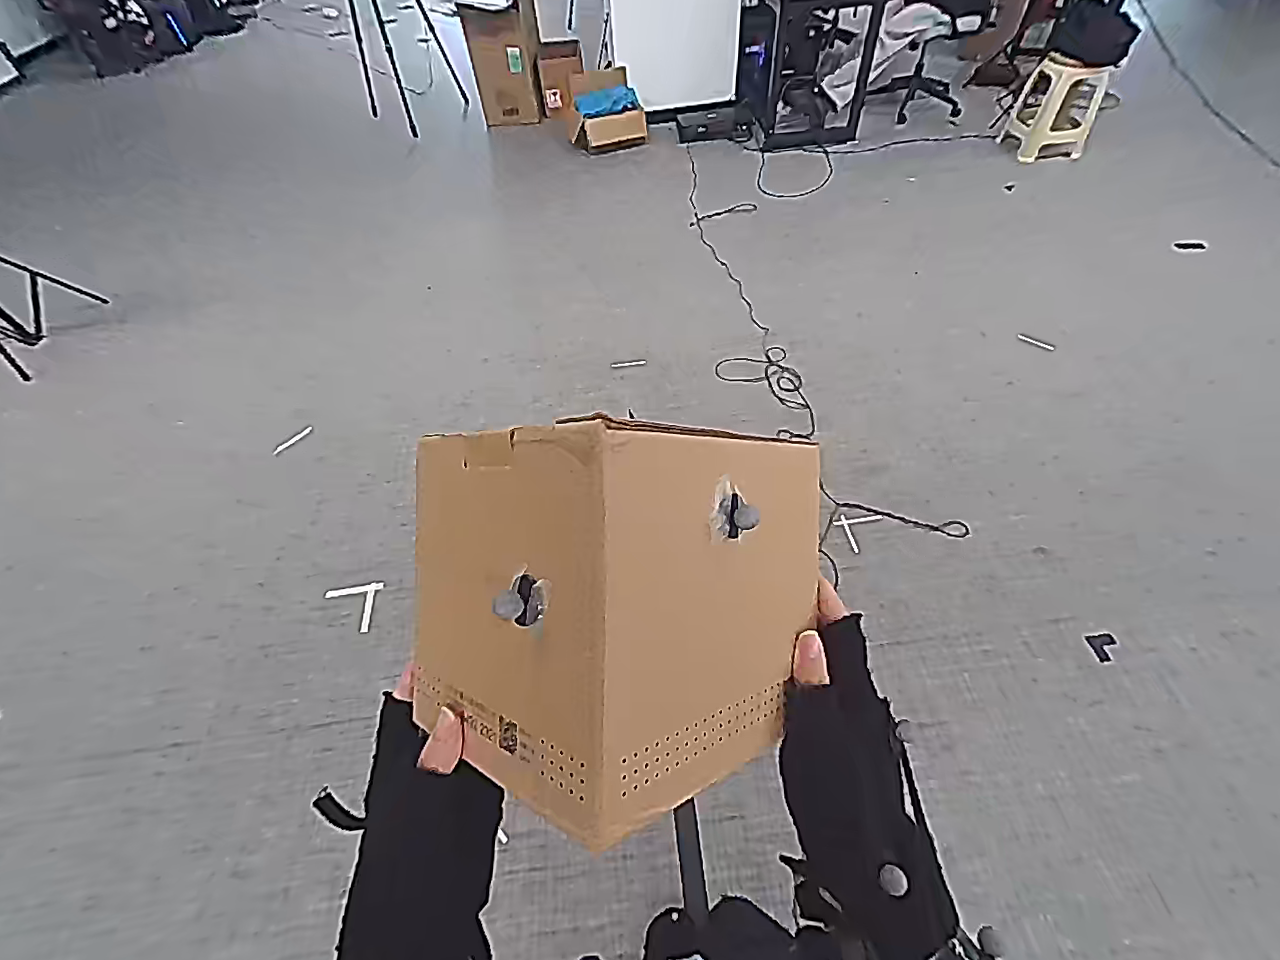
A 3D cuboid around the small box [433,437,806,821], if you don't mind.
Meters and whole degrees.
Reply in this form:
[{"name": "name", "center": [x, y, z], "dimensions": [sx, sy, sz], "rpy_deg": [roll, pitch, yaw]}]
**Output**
[{"name": "small box", "center": [-0.010, 0.068, 0.334], "dimensions": [0.168, 0.179, 0.176], "rpy_deg": [0, 89, 45]}]
